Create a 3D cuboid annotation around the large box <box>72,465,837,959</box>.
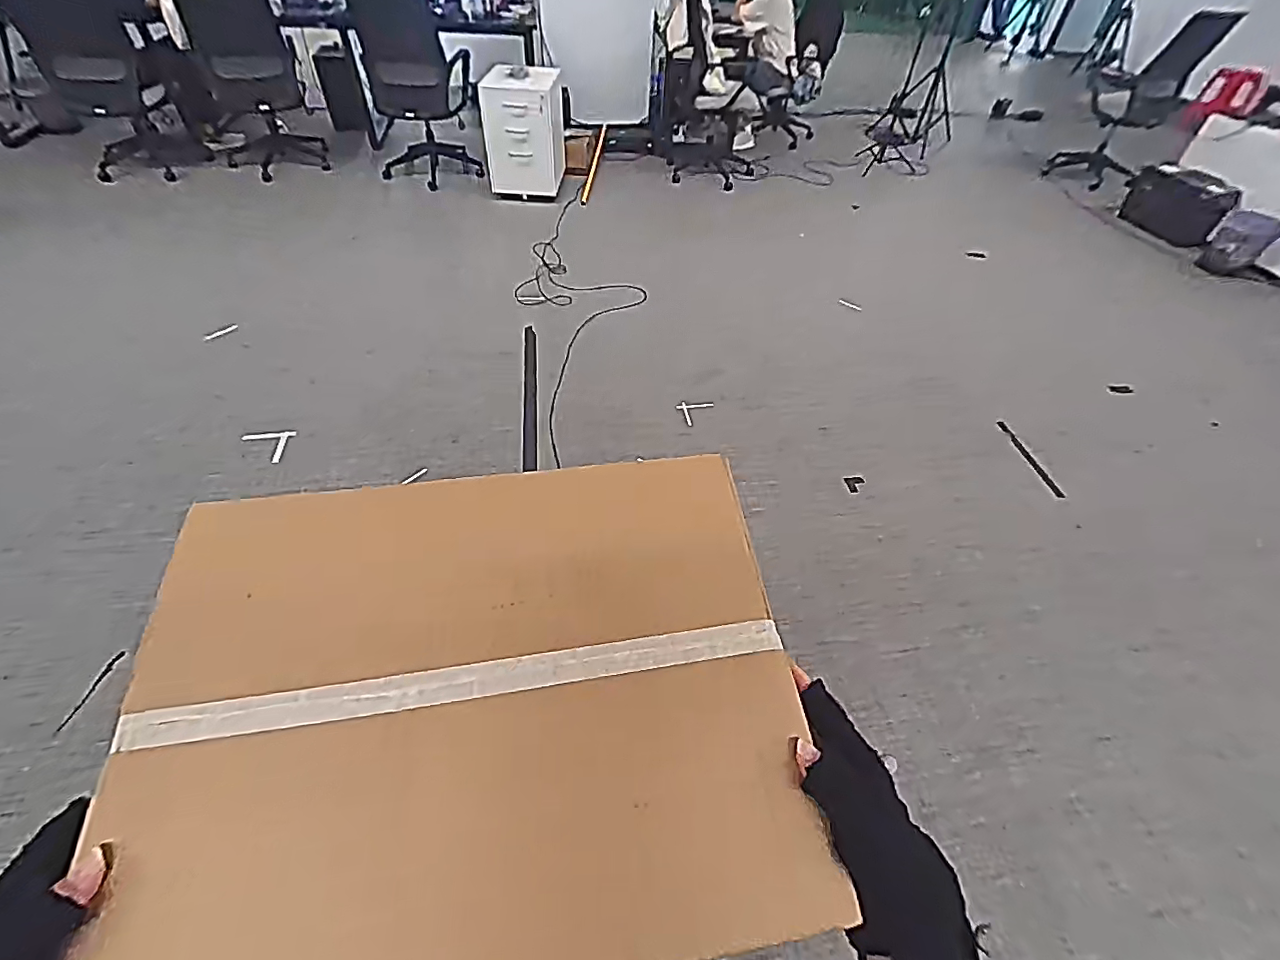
[{"bbox_3d":[-0.114,0.217,0.477,0.408,0.320,0.320,-6,57,-8],"label":"large box"}]
